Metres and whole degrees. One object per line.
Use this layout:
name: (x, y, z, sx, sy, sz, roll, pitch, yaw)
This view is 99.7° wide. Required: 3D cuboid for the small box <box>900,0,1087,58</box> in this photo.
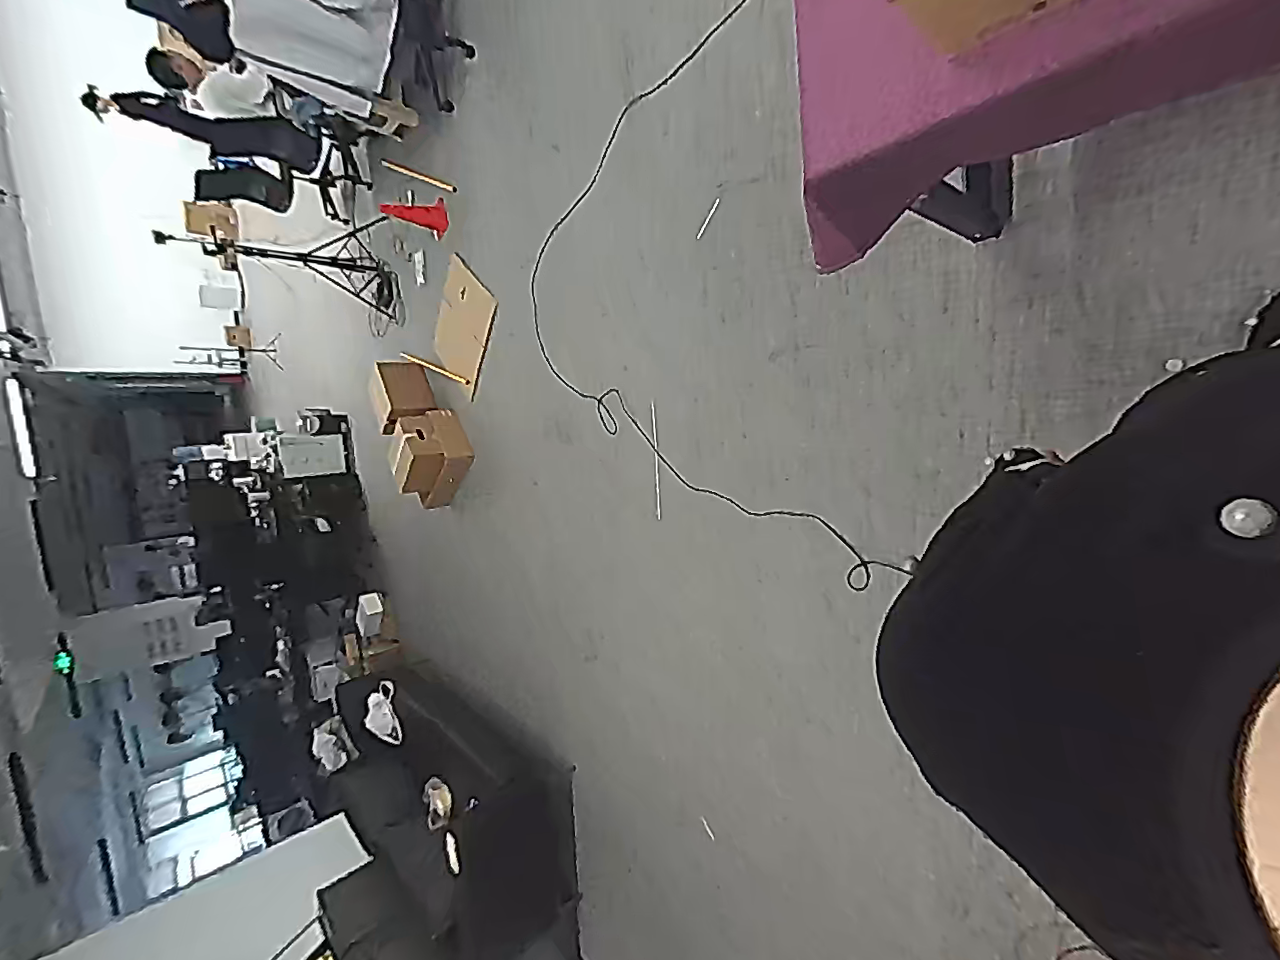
small box: (0.382, -0.603, 0.566, 0.168, 0.176, 0.179, 6, 100, 48)
